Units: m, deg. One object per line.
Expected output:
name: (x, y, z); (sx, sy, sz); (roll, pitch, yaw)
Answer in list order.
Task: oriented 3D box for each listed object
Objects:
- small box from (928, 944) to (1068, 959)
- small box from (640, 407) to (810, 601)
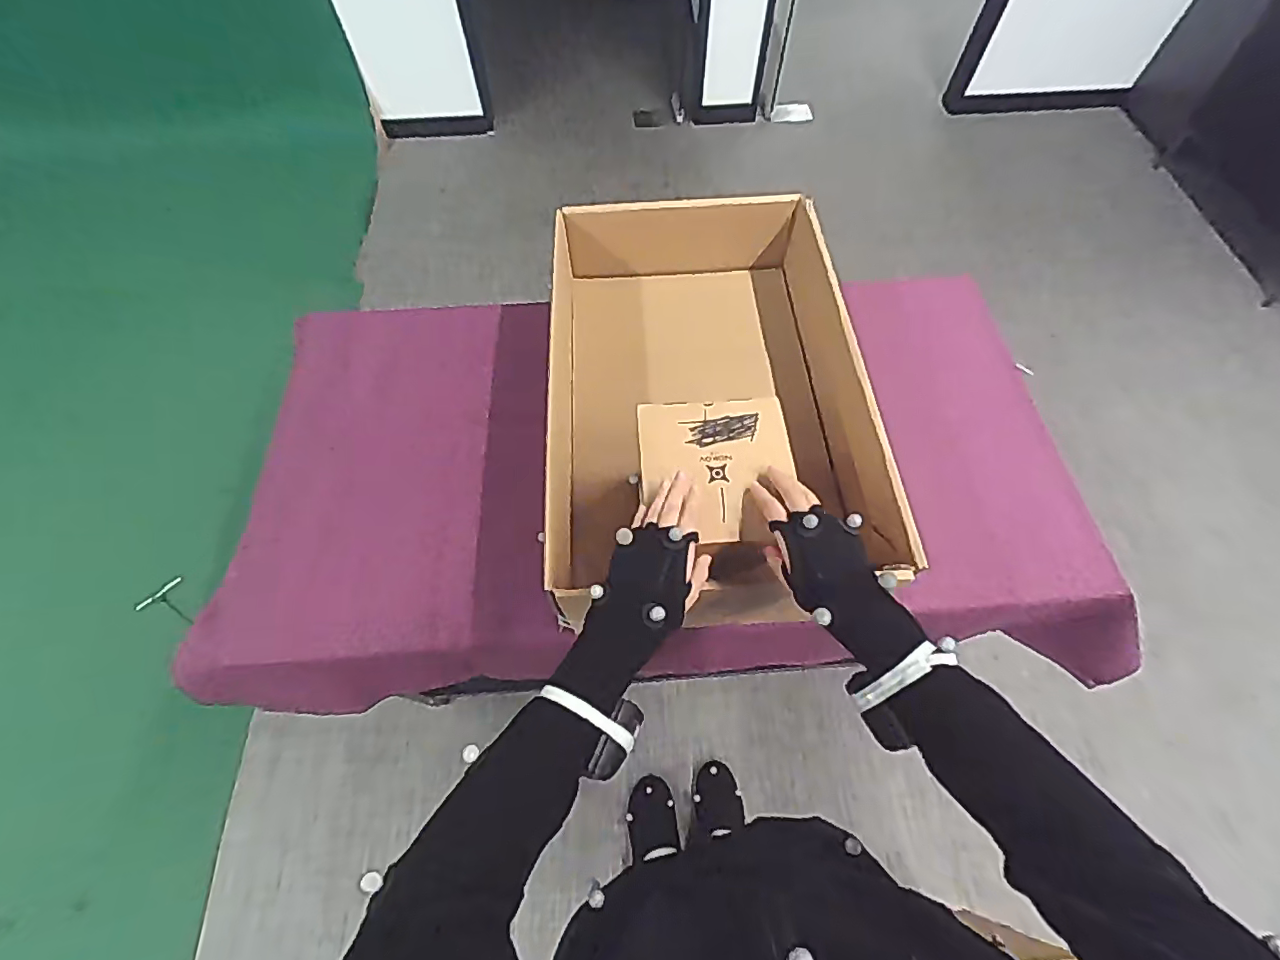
small box: (0.538, 0.779, 0.759); (0.168, 0.176, 0.179); (-3, 60, 0)
small box: (0.086, 0.033, 0.651); (0.168, 0.176, 0.179); (-4, 62, -1)
